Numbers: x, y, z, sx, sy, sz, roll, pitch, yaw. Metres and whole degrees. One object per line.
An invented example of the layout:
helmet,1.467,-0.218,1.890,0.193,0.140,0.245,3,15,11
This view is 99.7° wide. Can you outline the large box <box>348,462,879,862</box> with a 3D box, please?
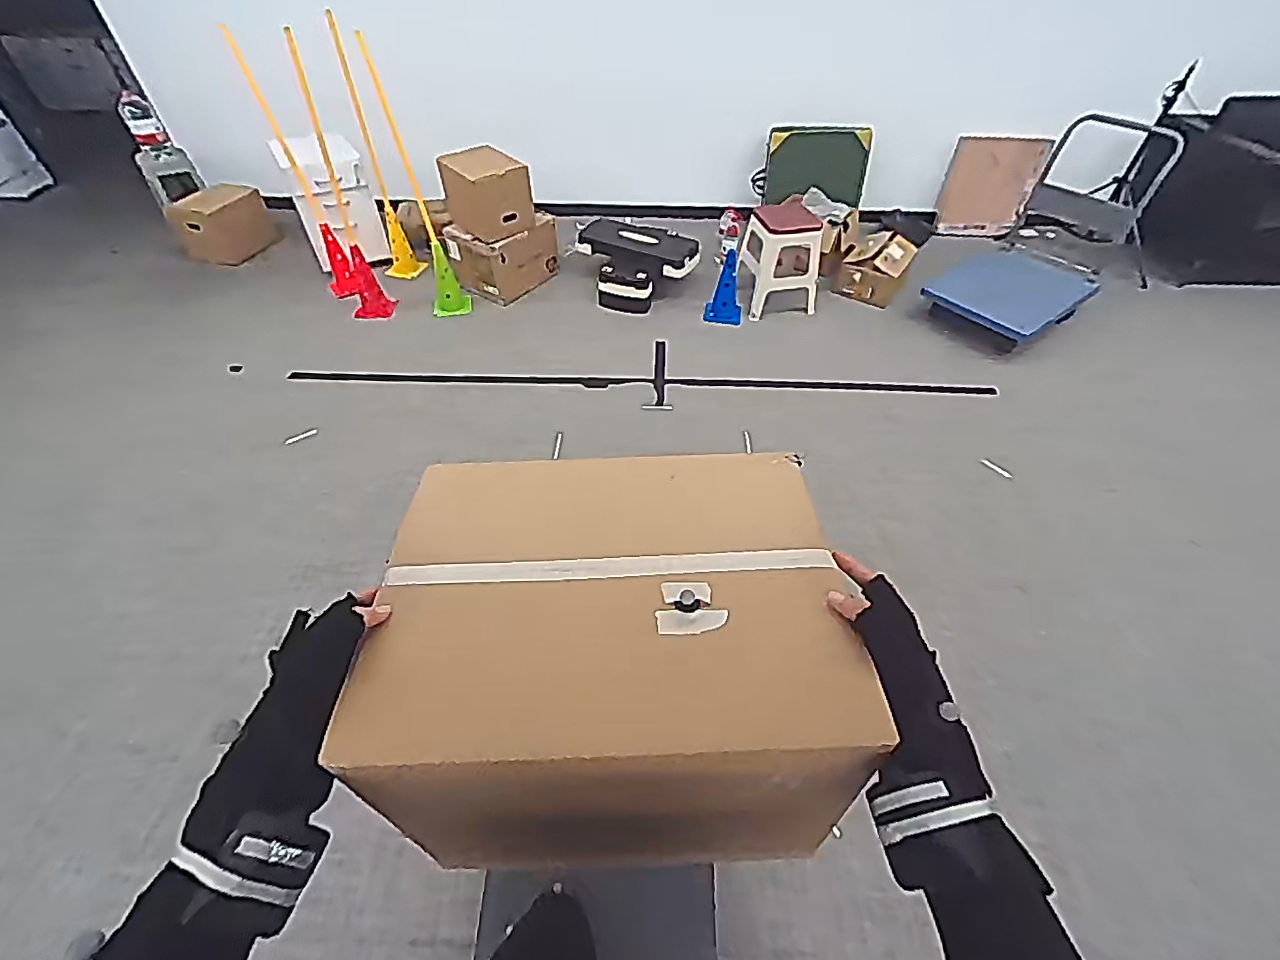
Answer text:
large box,-0.021,0.199,0.606,0.408,0.320,0.320,-2,43,0
